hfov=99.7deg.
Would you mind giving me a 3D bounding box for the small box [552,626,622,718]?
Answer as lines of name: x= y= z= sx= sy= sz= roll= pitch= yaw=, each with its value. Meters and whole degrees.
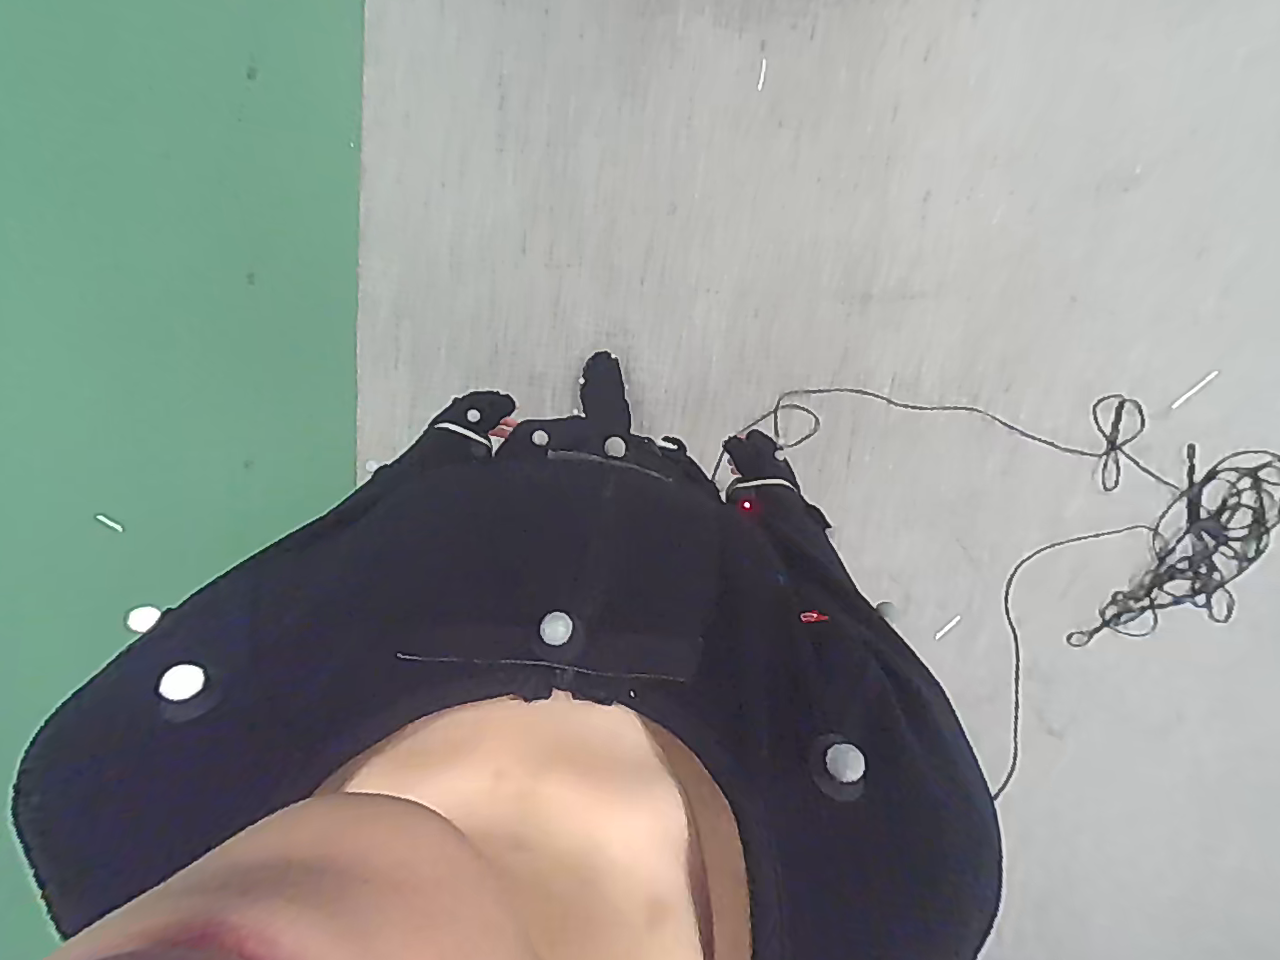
small box: x=-0.137 y=0.507 z=1.448 sx=0.168 sy=0.176 sz=0.179 roll=4 pitch=97 yaw=1
